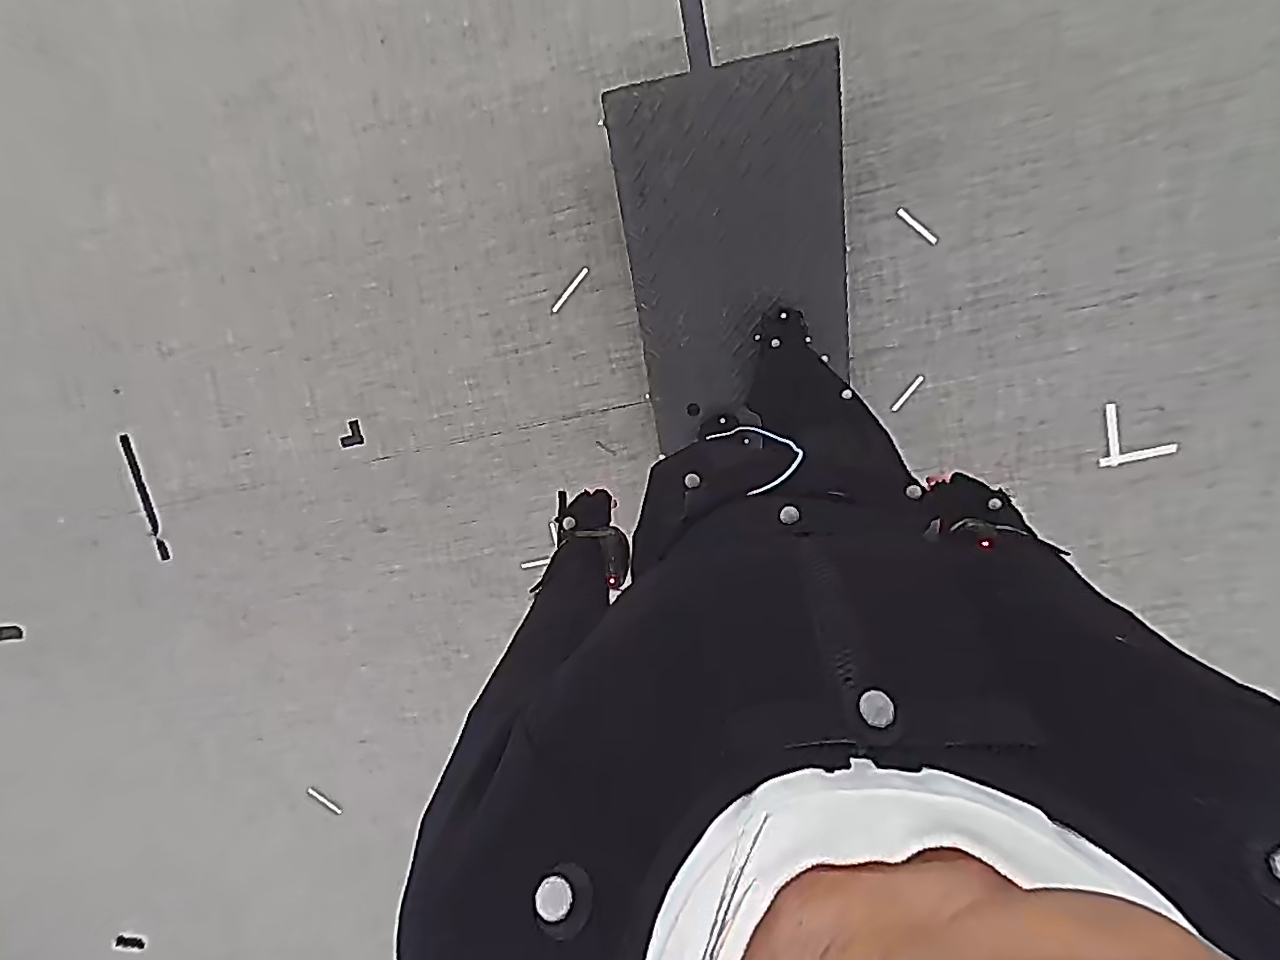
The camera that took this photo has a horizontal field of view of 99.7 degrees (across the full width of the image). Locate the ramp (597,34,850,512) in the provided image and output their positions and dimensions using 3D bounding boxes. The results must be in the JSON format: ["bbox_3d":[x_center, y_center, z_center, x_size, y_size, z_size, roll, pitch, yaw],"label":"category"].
[{"bbox_3d":[0.235,-0.401,1.288,0.509,0.206,0.991,-10,102,7],"label":"ramp"}]
